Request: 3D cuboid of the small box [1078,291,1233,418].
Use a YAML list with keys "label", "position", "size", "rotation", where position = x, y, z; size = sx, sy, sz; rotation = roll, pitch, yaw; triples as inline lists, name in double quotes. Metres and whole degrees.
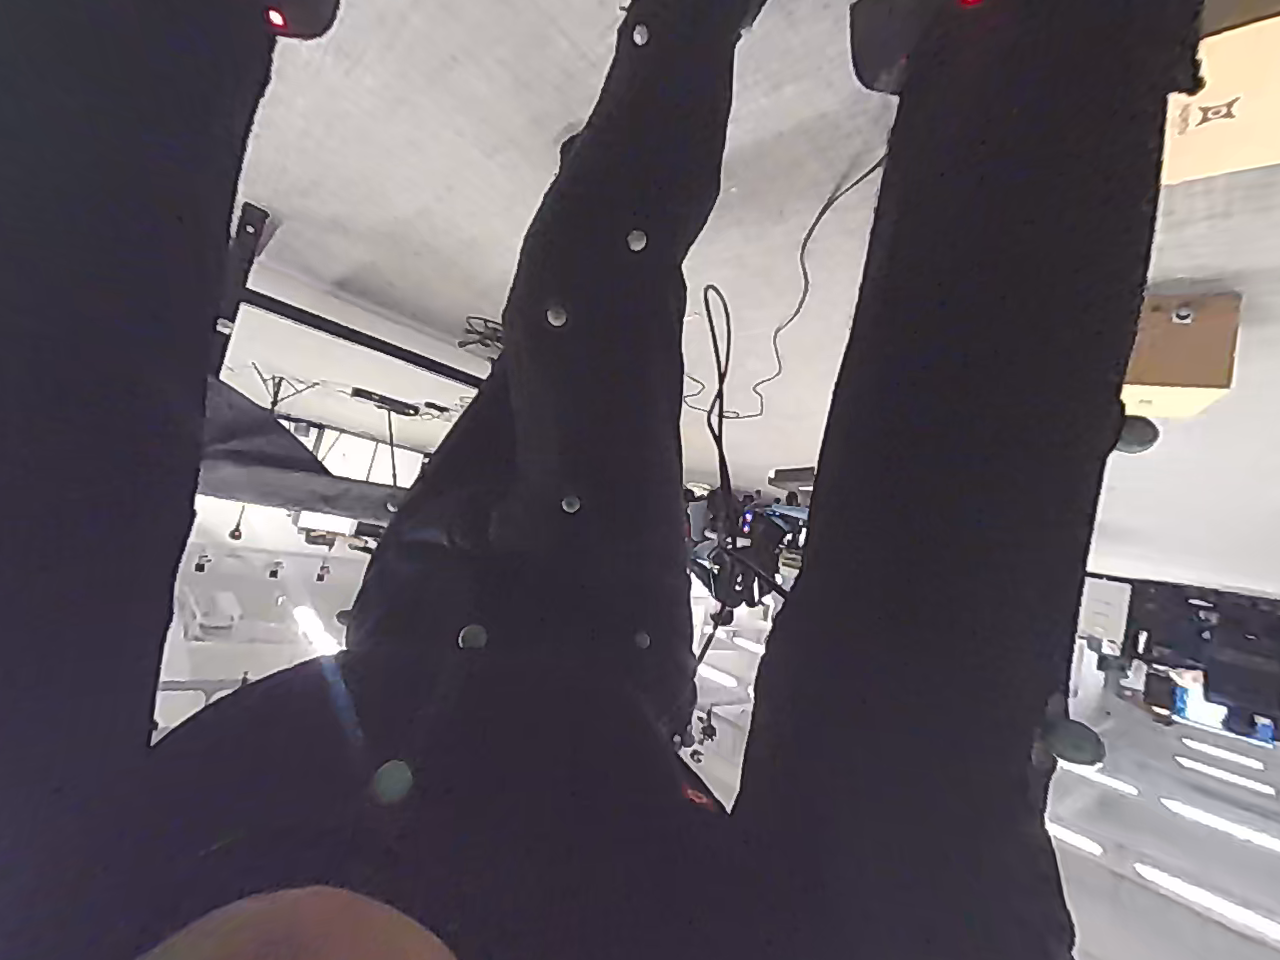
- label: "small box"
  position: [0.923, -0.223, 0.977]
  size: [0.168, 0.176, 0.179]
  rotation: [8, 172, 30]
